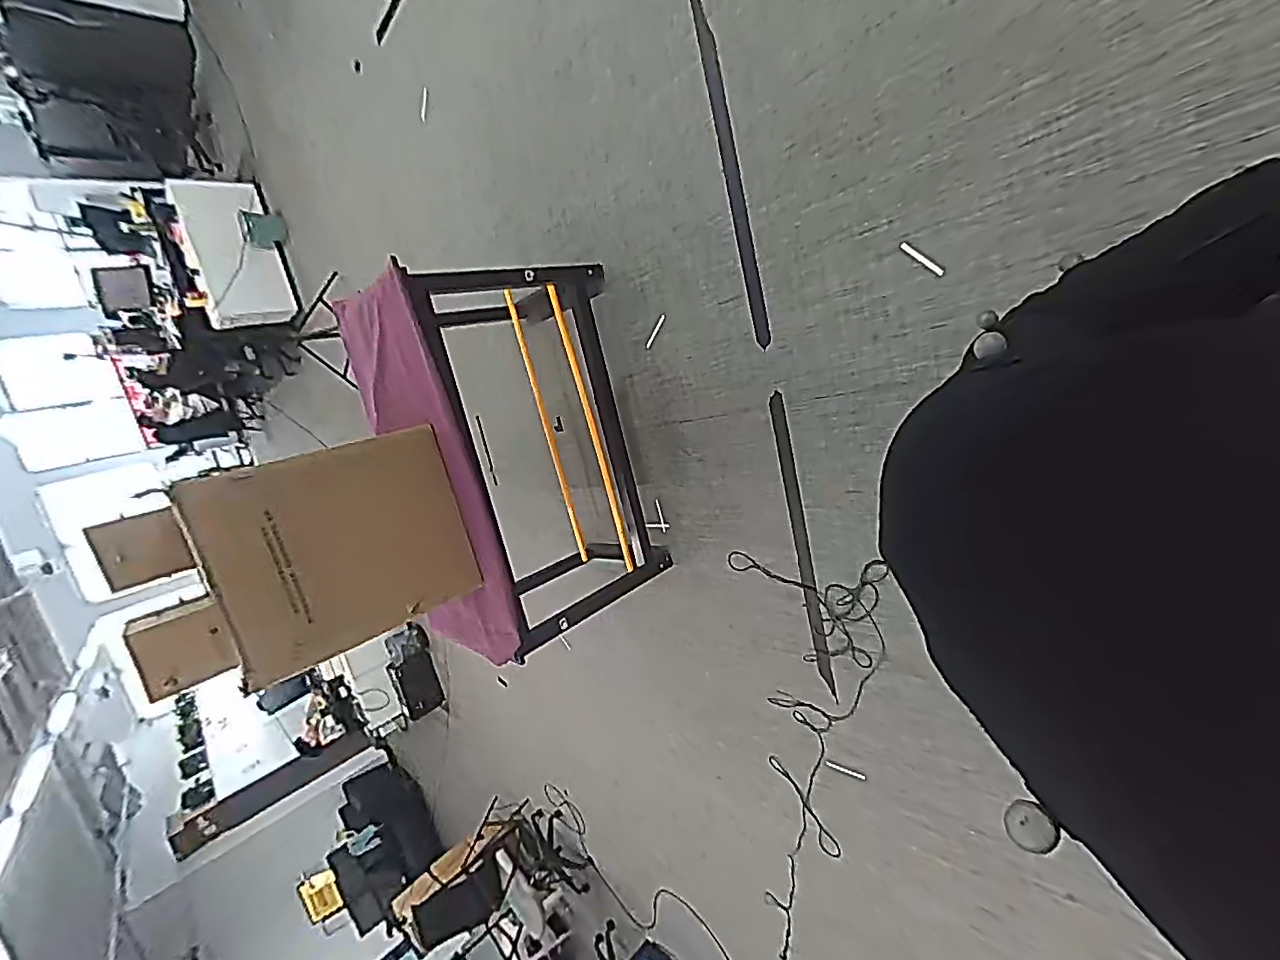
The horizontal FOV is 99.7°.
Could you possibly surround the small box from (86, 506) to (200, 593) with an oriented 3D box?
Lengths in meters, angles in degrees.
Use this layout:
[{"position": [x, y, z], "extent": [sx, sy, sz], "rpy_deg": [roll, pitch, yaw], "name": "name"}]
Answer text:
[{"position": [-1.272, 0.171, 1.391], "extent": [0.168, 0.176, 0.179], "rpy_deg": [-7, 104, 49], "name": "small box"}]
